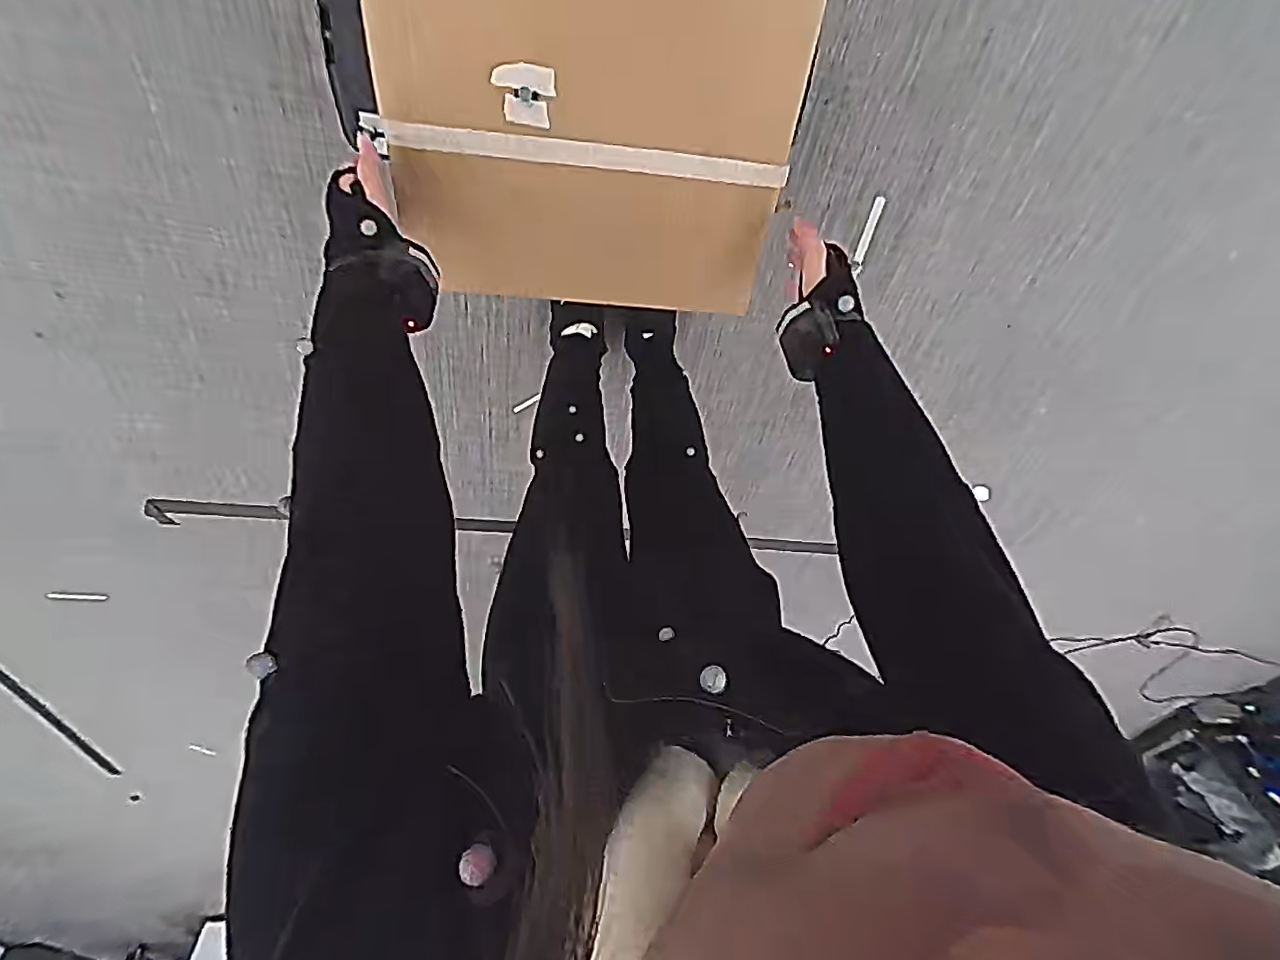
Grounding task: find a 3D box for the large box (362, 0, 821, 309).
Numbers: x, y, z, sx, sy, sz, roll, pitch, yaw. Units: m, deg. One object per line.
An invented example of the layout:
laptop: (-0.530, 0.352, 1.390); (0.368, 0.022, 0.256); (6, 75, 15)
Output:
large box: (-0.058, -0.430, 0.651); (0.408, 0.320, 0.320); (3, 131, -7)
